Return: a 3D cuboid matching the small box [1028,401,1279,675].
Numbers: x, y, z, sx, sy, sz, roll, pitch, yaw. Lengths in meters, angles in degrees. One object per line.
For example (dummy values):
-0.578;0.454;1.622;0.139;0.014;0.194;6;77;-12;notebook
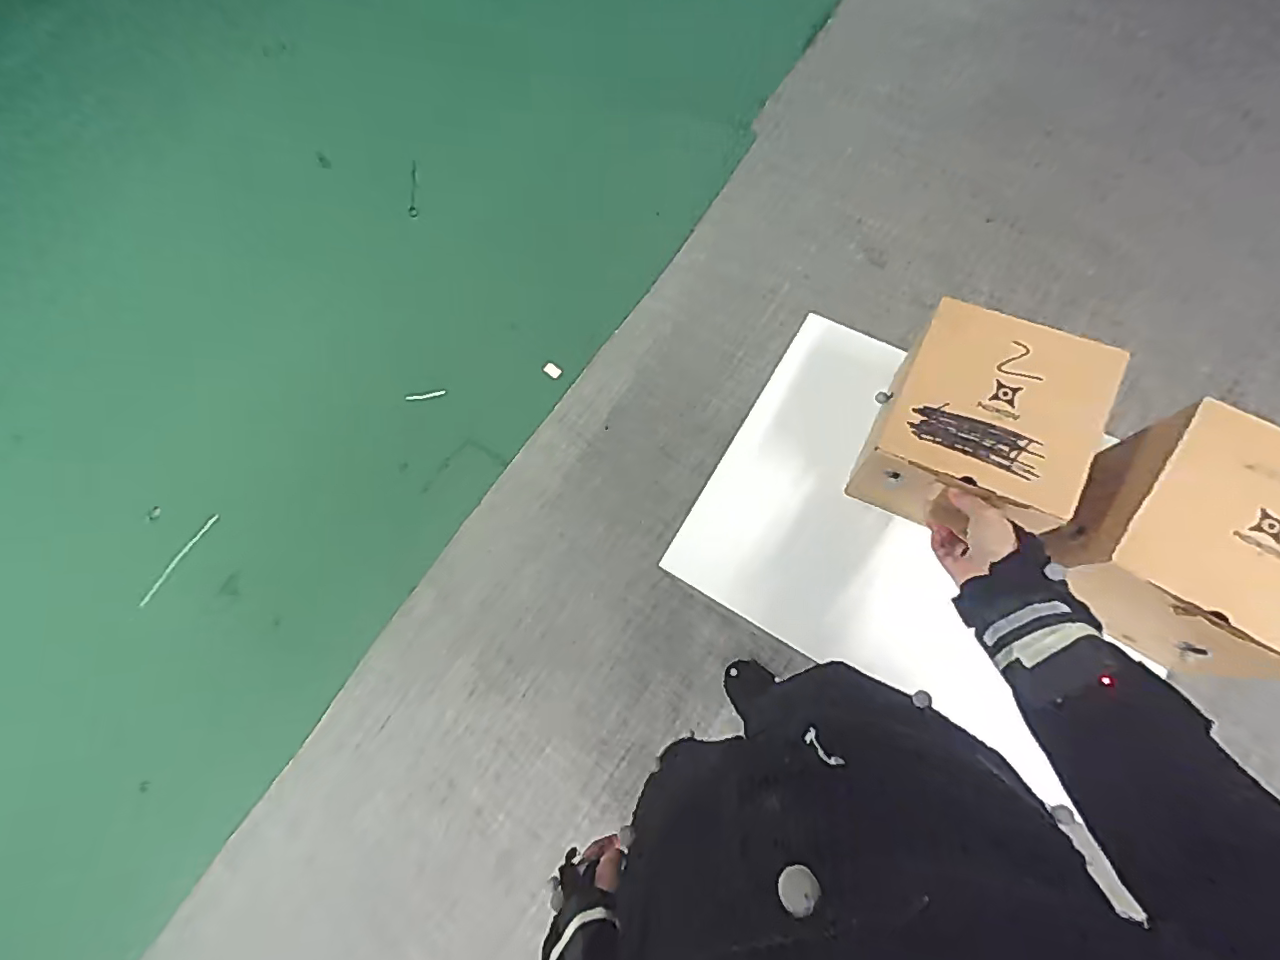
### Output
0.510;0.065;0.504;0.168;0.176;0.179;34;82;17;small box
